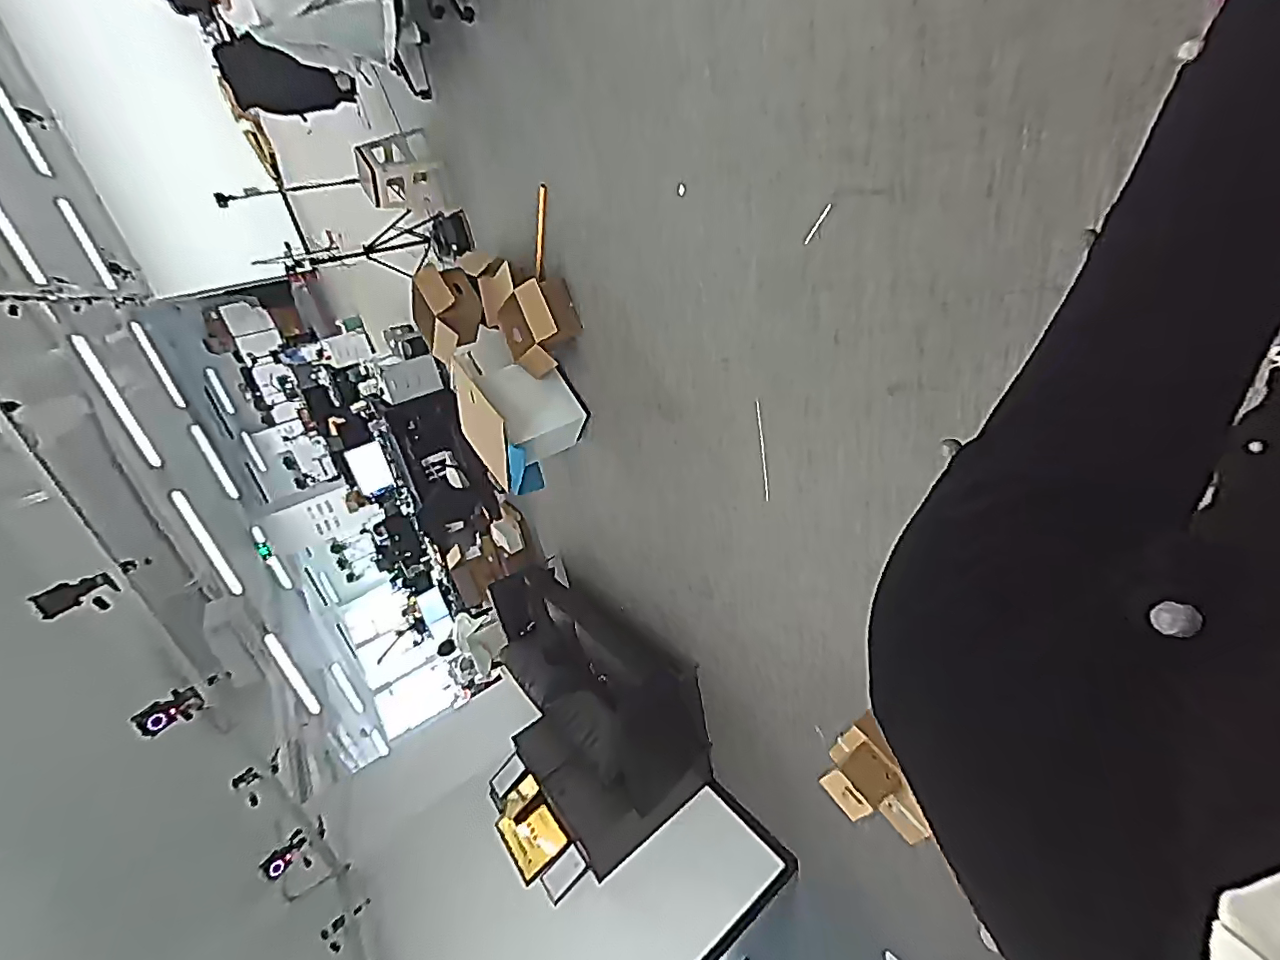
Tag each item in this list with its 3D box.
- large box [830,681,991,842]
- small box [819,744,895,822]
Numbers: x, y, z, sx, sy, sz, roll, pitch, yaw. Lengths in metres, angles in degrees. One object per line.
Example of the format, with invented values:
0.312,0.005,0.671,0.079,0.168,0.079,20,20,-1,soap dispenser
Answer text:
1.031,1.081,2.099,0.408,0.320,0.320,43,146,31,large box
0.801,1.107,1.983,0.168,0.176,0.179,47,146,28,small box
